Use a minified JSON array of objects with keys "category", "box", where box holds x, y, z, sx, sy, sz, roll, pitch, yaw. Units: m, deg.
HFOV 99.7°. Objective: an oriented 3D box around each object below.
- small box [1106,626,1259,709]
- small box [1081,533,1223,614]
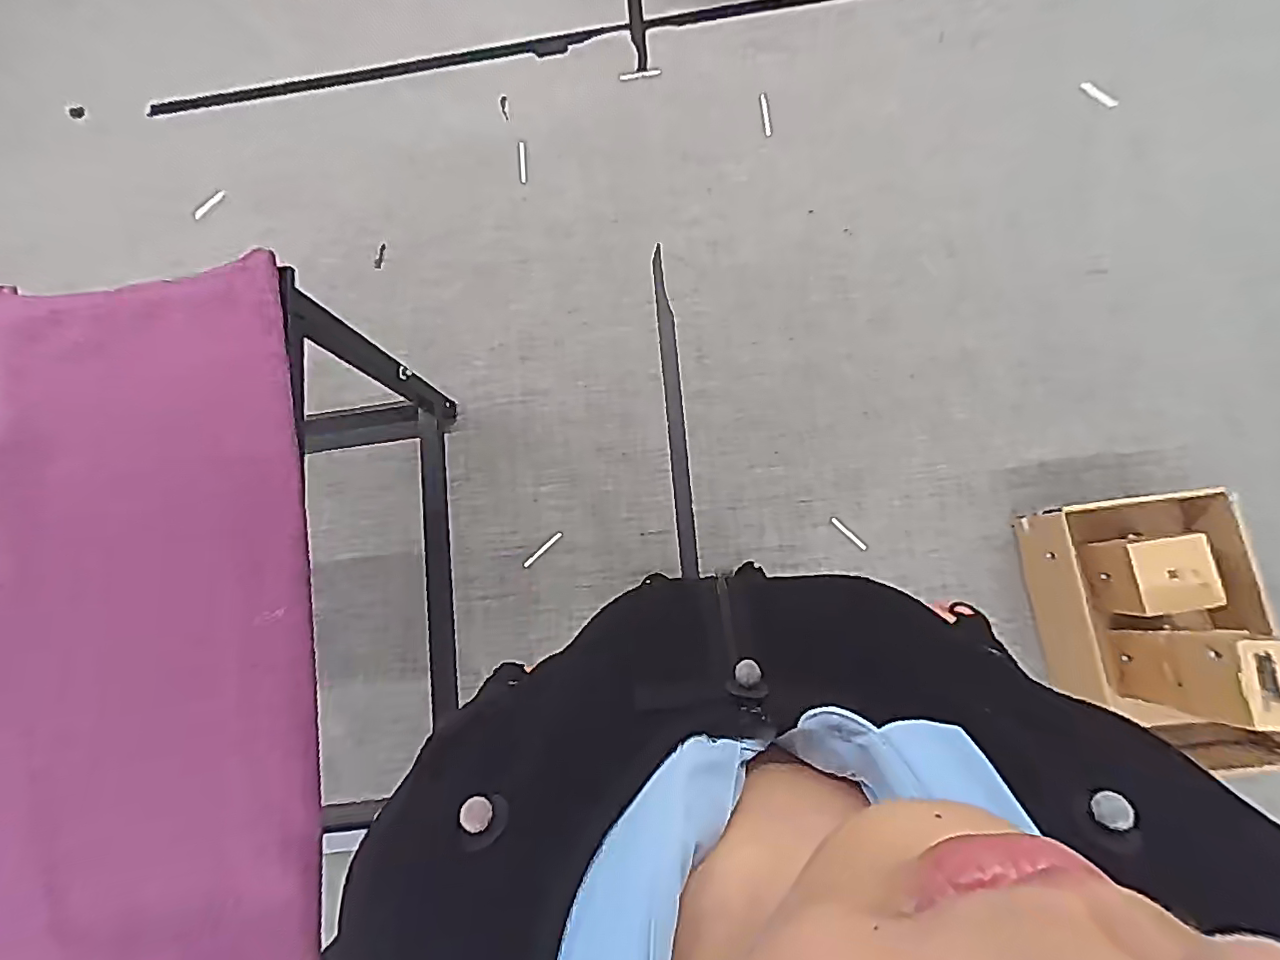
[{"category":"small box","box":[1.259,0.434,1.268,0.179,0.176,0.168,-3,78,5]},{"category":"small box","box":[1.215,0.225,1.303,0.179,0.176,0.168,-9,82,3]}]
